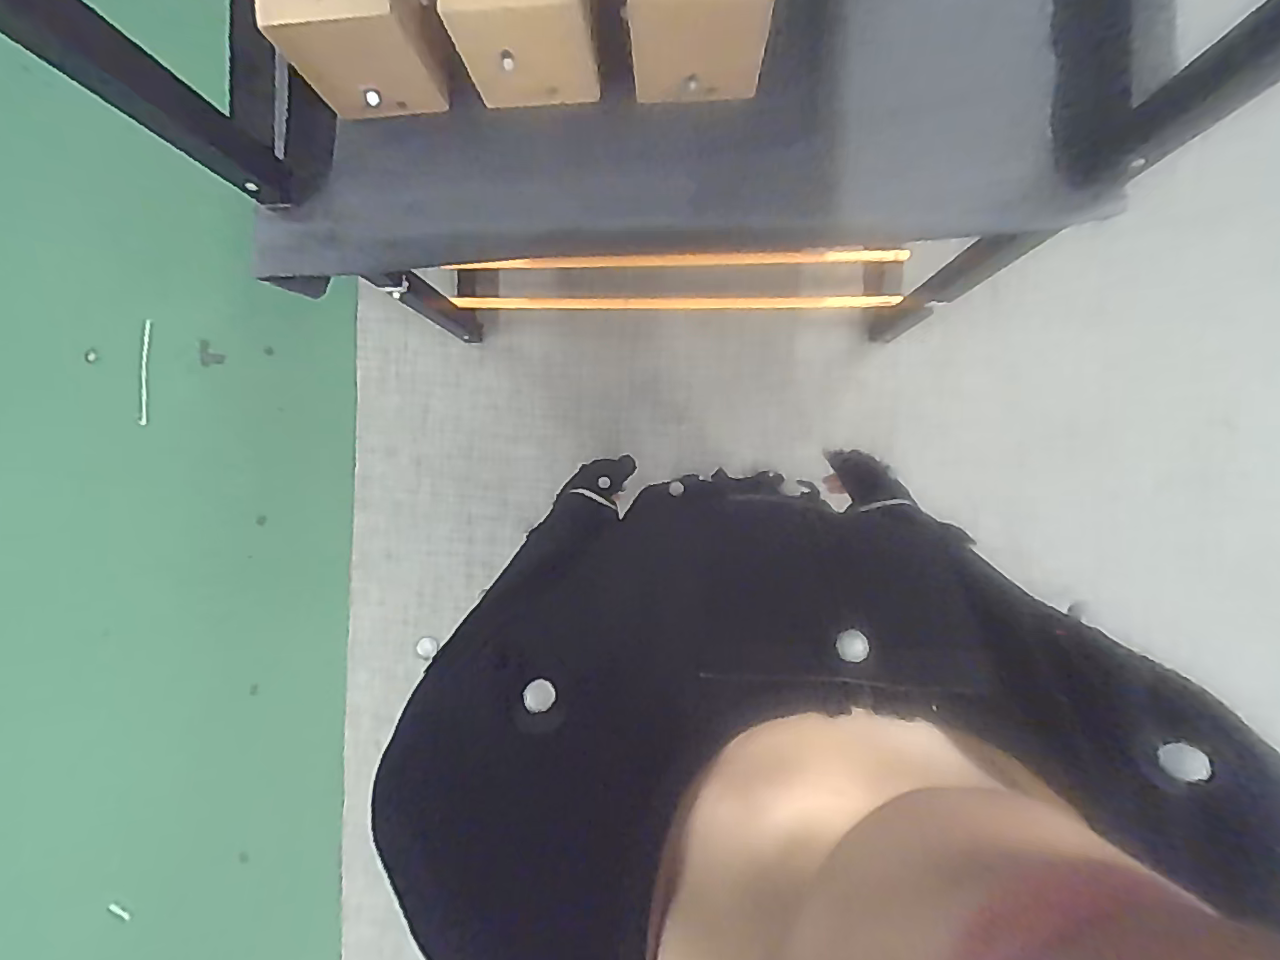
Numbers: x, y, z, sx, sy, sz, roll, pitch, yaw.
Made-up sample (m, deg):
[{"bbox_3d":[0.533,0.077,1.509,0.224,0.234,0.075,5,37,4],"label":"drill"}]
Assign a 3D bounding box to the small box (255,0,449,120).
[{"bbox_3d":[-0.363,-0.615,0.708,0.168,0.176,0.179,-1,90,4],"label":"small box"}]
